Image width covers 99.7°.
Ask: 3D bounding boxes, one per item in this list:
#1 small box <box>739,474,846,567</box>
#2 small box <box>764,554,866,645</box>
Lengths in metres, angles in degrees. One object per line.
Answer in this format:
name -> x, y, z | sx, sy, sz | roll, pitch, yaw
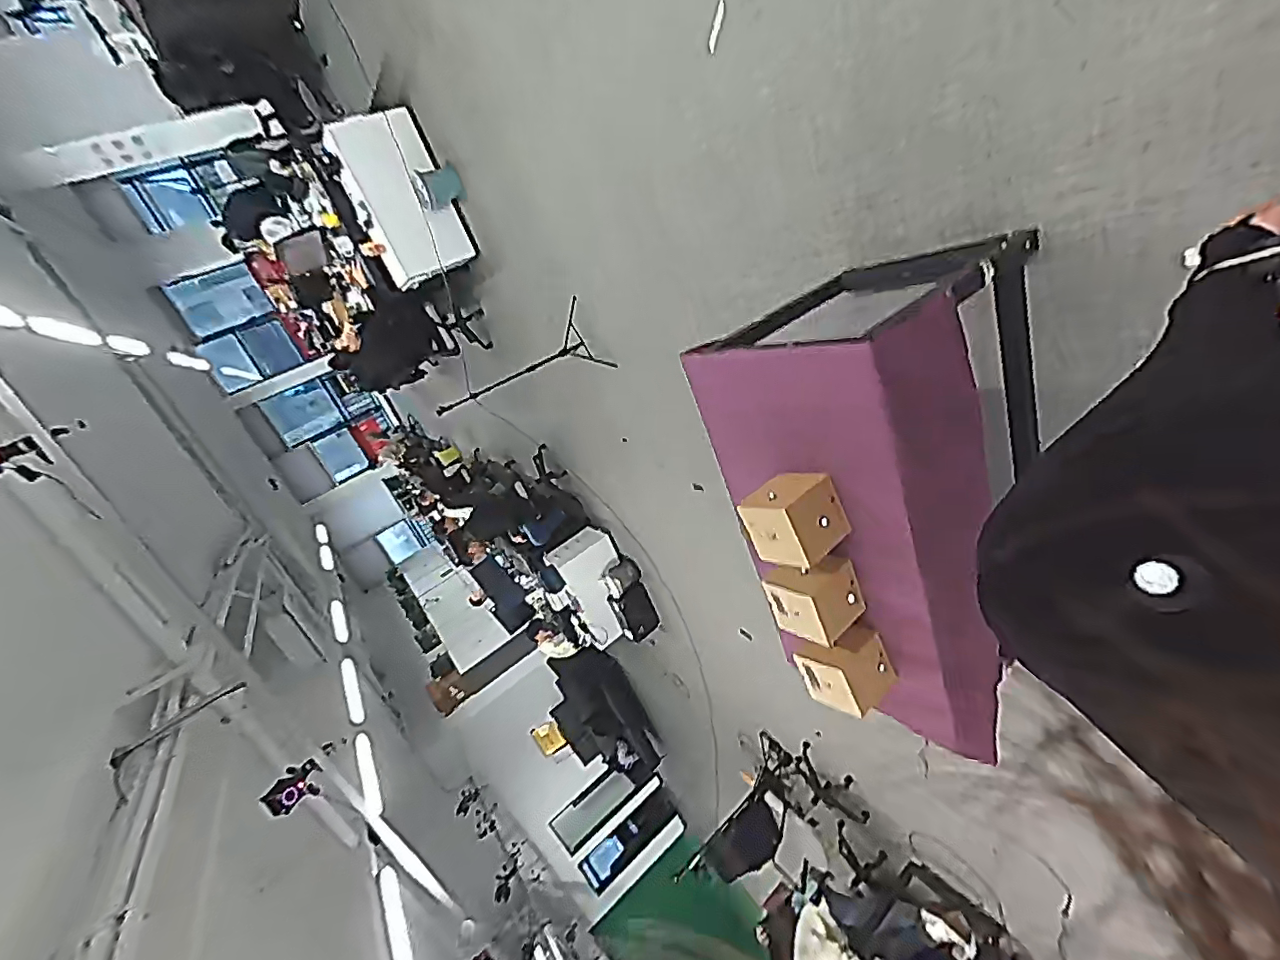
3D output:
small box -> 0.388, 0.093, 1.356 | 0.179, 0.176, 0.168 | 1, 121, 62
small box -> 0.474, 0.307, 1.463 | 0.179, 0.176, 0.168 | 9, 128, 58
